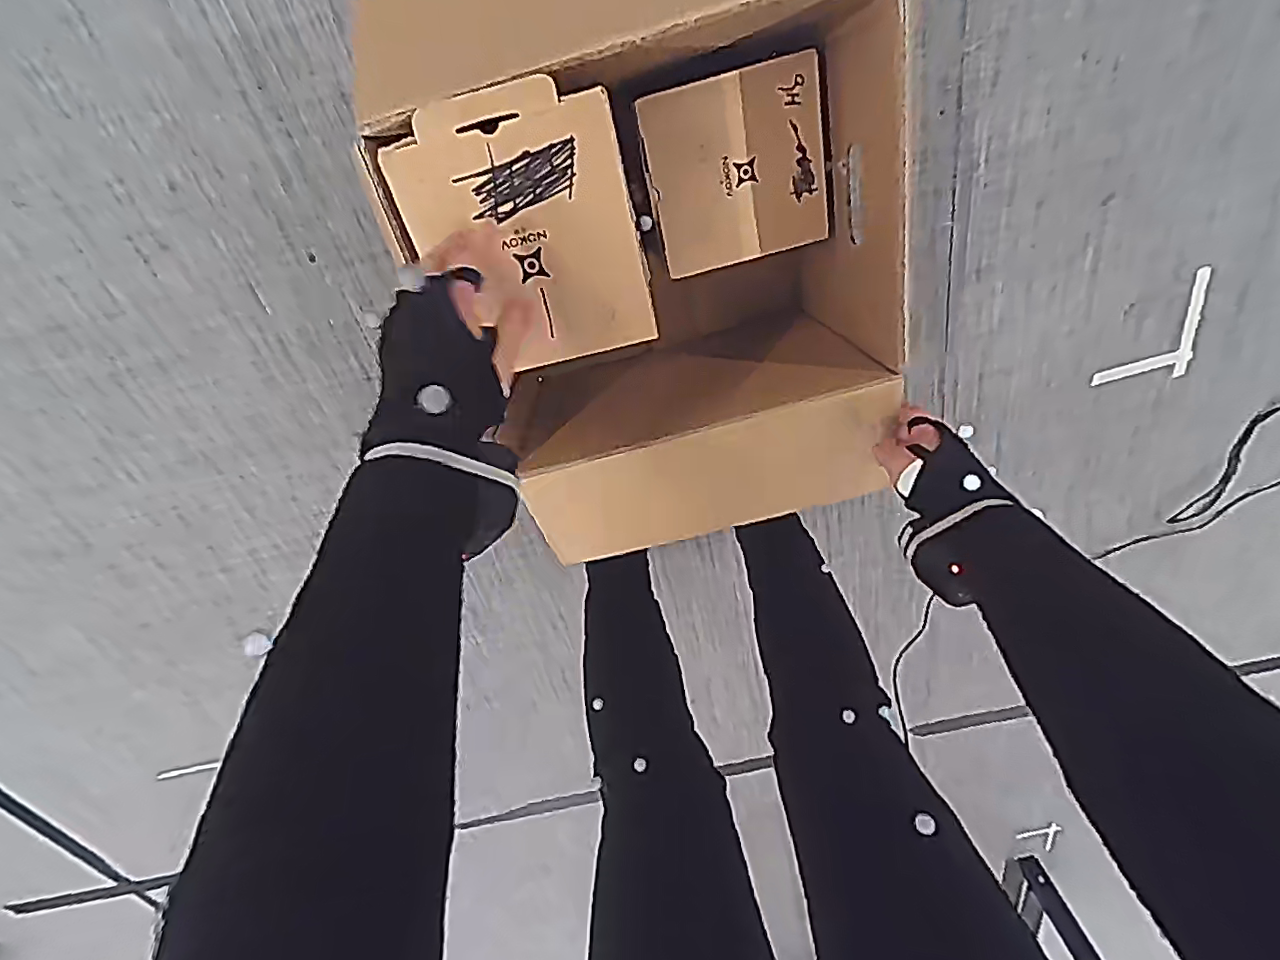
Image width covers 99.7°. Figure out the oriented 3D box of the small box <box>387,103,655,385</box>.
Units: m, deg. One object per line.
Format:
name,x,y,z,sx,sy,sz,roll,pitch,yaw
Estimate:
small box,-0.087,-0.210,0.487,0.168,0.176,0.179,-12,121,6
